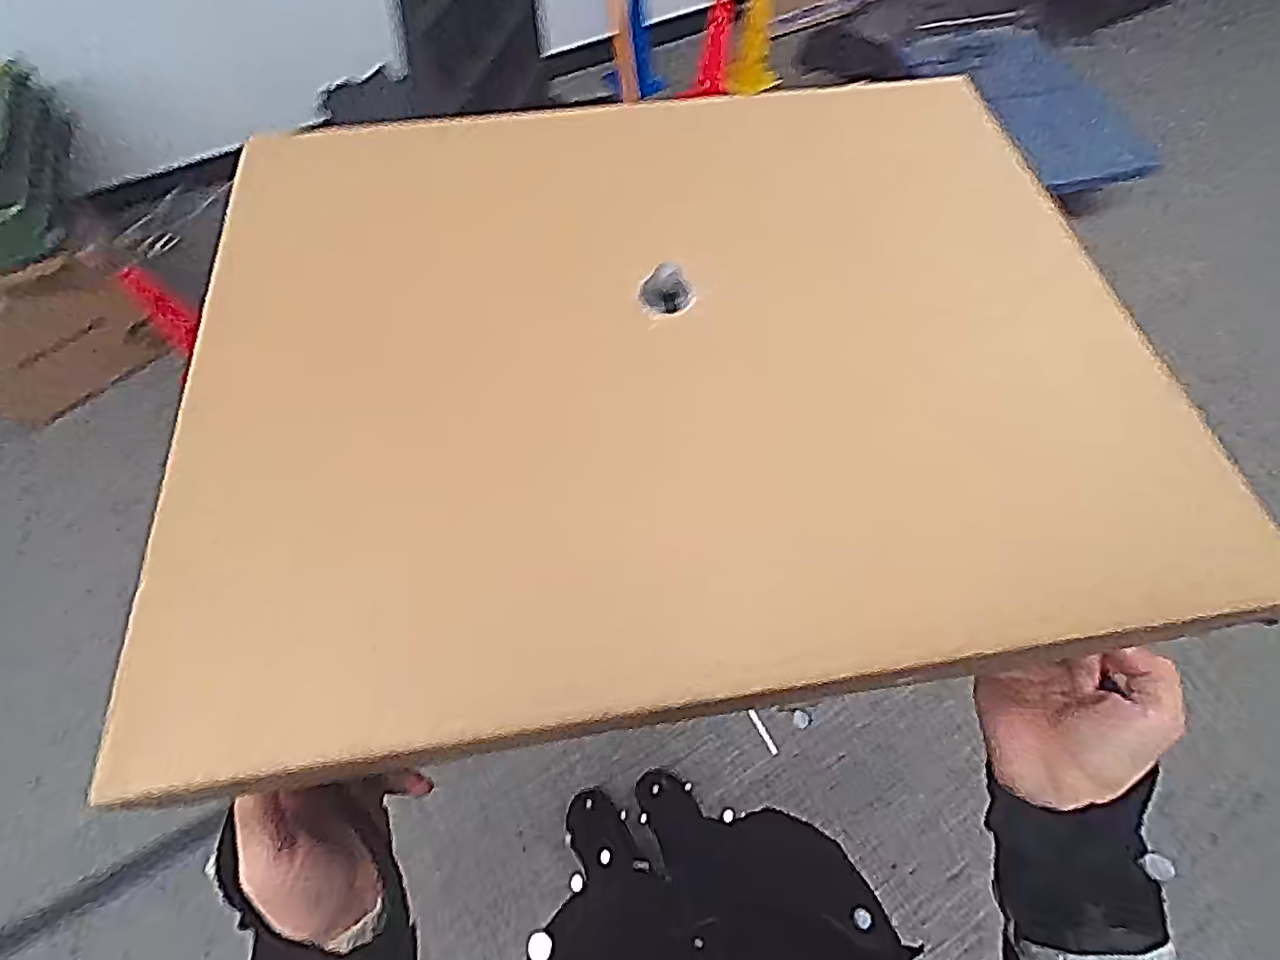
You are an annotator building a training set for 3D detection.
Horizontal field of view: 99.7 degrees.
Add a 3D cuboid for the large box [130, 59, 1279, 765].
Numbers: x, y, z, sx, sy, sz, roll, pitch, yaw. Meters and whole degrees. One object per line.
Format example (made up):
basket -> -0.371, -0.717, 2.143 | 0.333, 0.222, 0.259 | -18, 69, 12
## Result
large box -> 0.013, -0.017, 0.371 | 0.408, 0.320, 0.320 | -8, 67, -3
